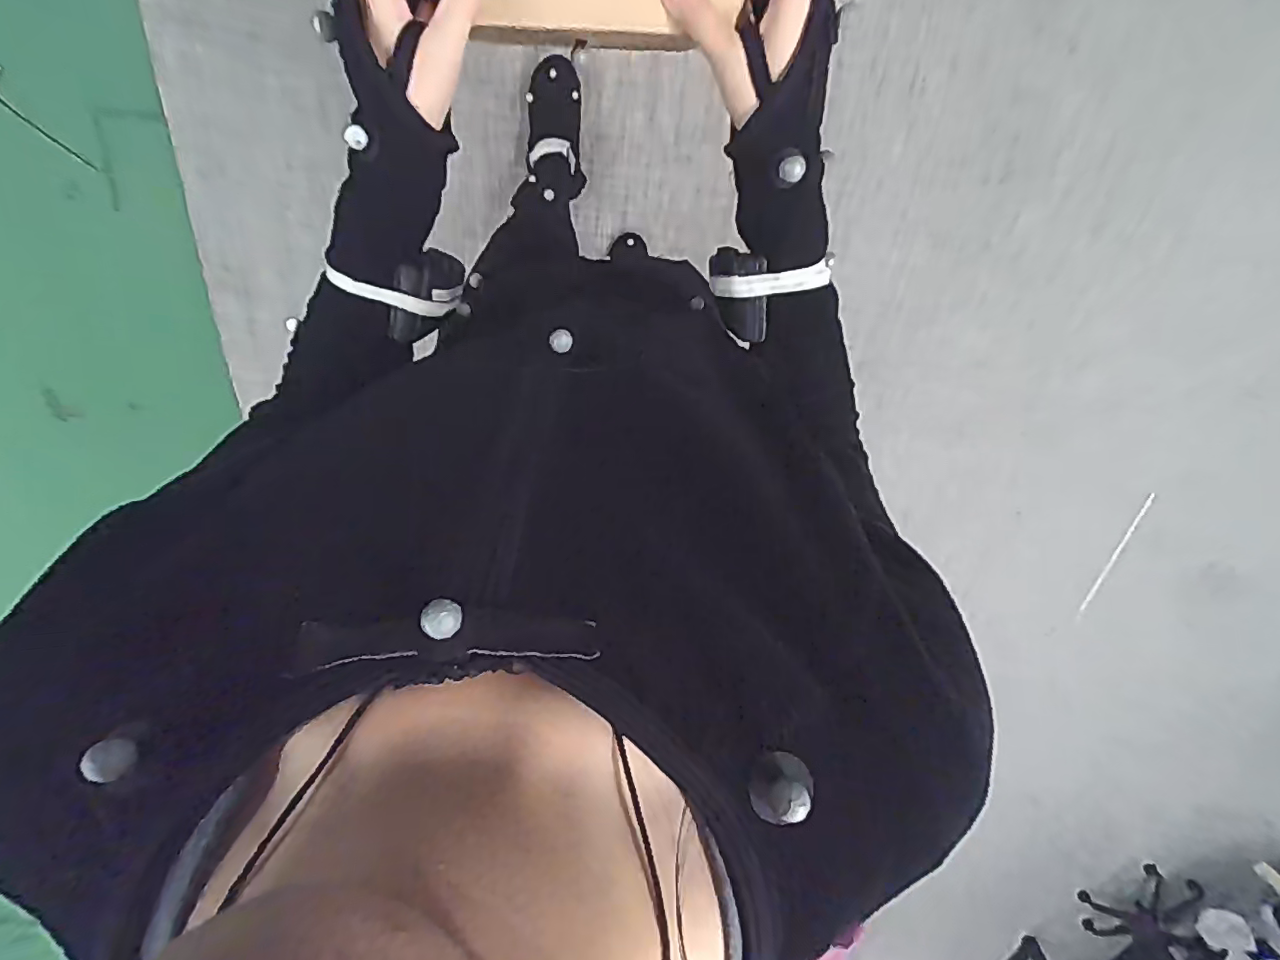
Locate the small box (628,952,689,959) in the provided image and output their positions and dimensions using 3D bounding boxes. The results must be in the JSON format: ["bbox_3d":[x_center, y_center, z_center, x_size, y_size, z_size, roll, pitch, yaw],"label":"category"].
[{"bbox_3d":[0.051,1.445,1.497,0.179,0.176,0.168,4,119,-5],"label":"small box"}]
